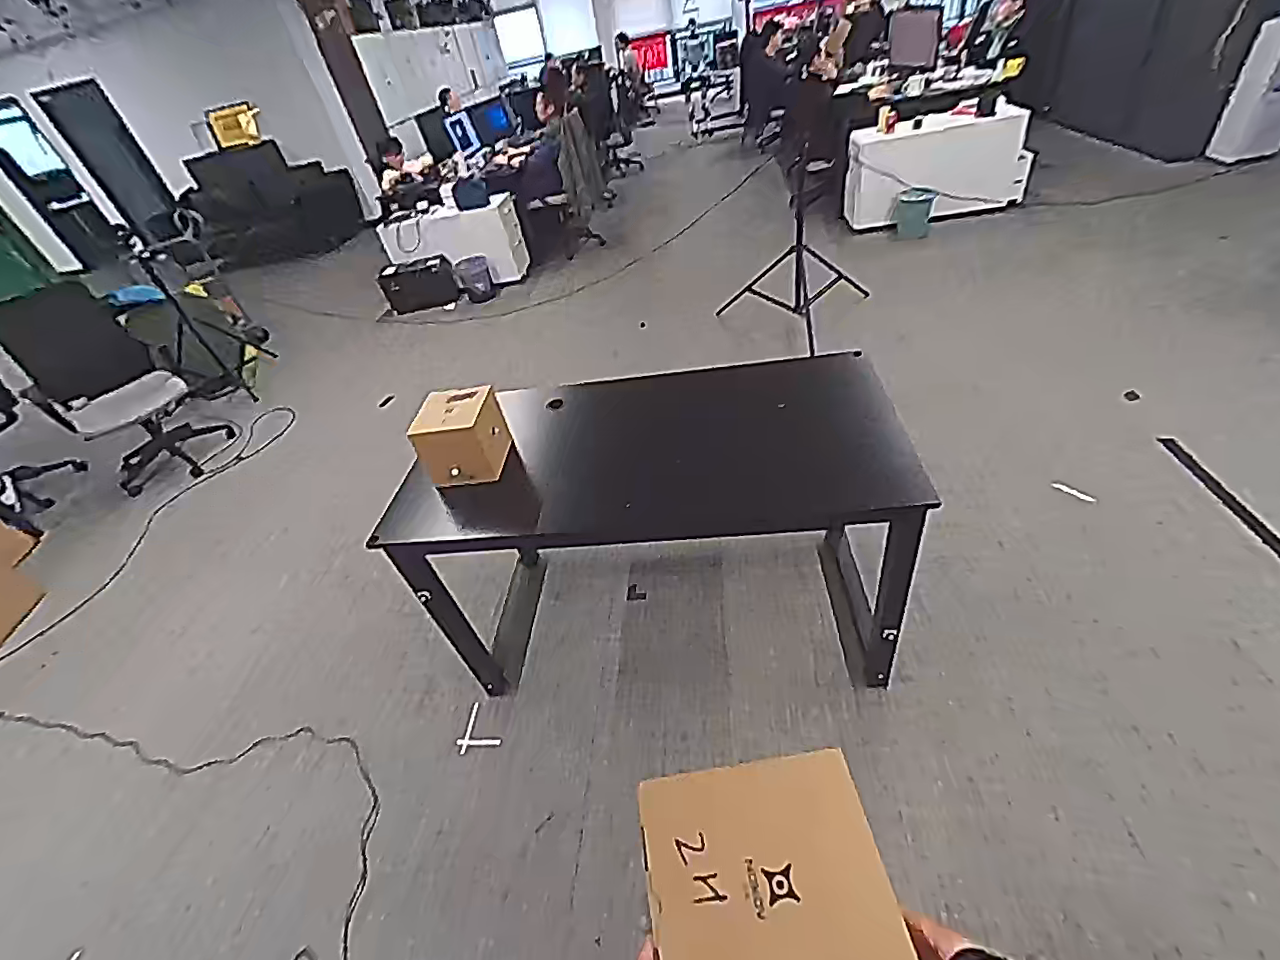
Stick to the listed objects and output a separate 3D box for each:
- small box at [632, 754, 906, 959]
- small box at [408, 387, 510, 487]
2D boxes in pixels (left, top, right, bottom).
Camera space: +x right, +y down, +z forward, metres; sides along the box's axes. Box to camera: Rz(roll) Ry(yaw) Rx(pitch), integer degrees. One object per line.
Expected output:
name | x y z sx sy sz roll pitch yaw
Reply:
small box | 0.094 0.355 0.458 0.179 0.176 0.168 -9 46 -2
small box | -0.436 -0.105 1.335 0.168 0.176 0.179 -6 42 8
